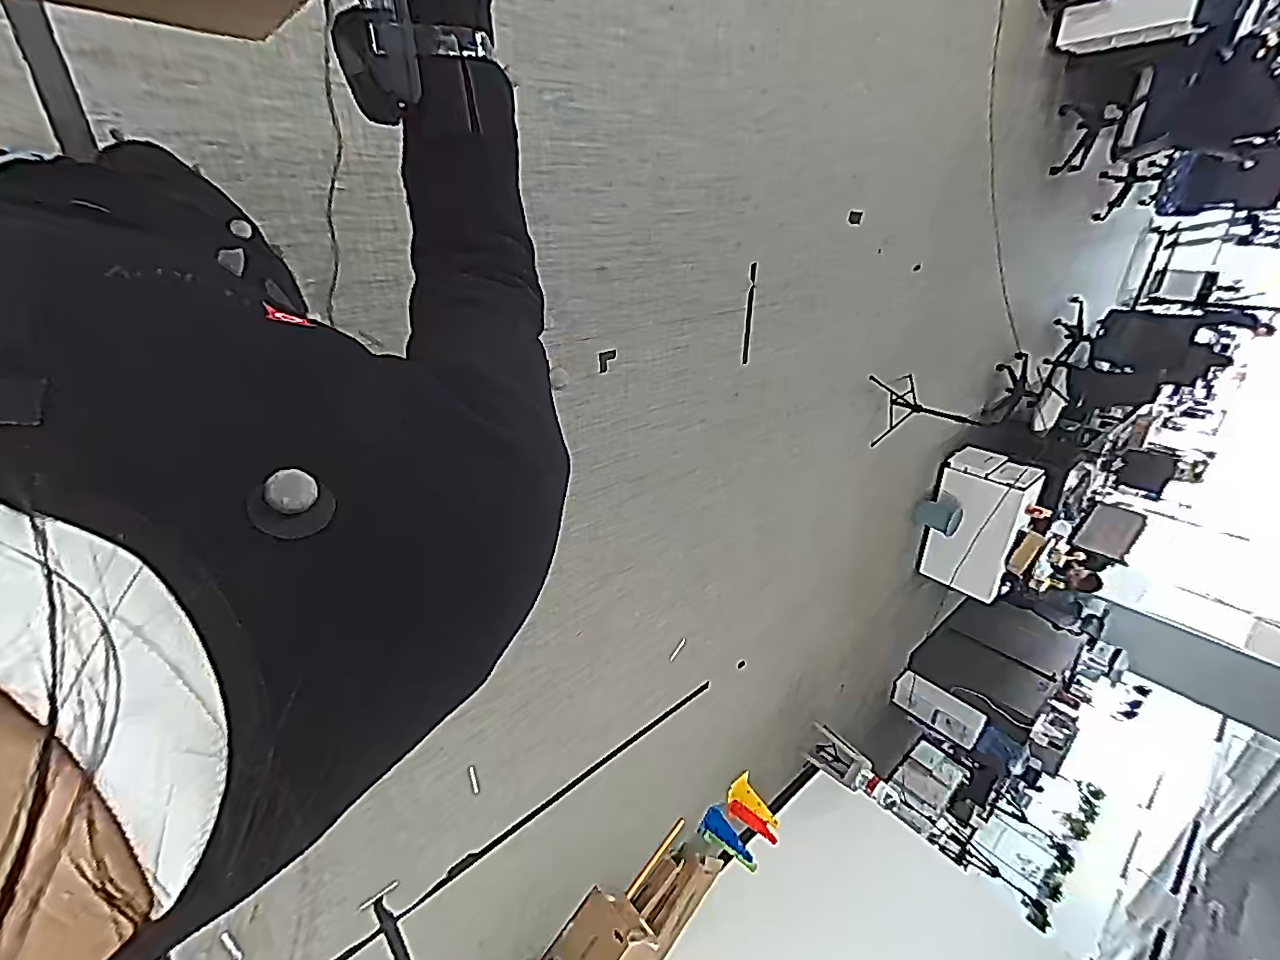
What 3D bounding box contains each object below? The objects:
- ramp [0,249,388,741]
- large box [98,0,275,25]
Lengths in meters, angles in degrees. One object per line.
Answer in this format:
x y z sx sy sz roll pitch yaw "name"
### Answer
-0.920 0.036 1.175 0.509 0.206 0.991 -19 121 -34 "ramp"
-0.395 -0.426 0.201 0.408 0.320 0.320 -19 127 -36 "large box"
